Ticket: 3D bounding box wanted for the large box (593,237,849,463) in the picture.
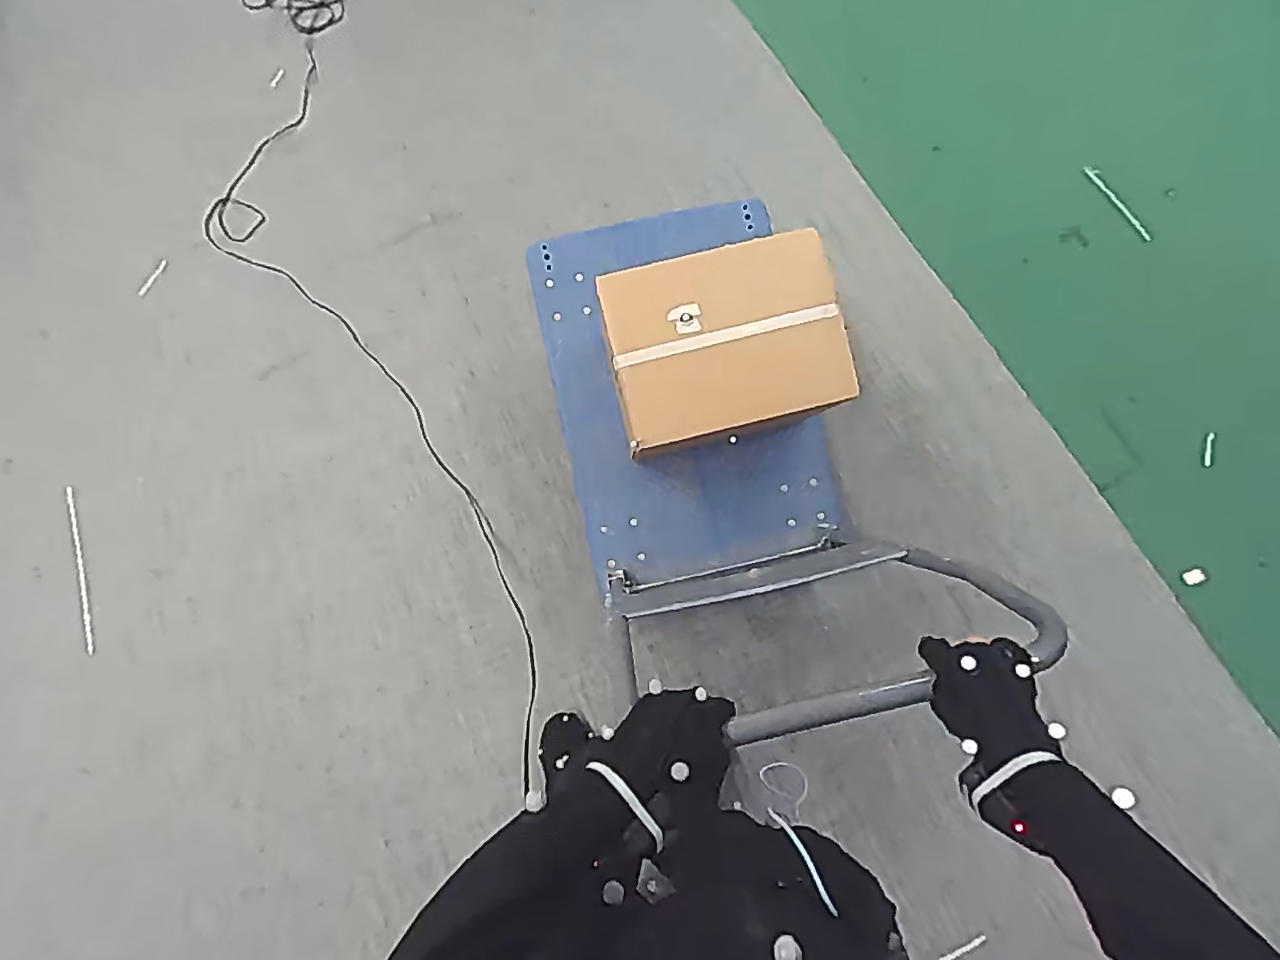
[{"bbox_3d":[0.144,-0.237,1.110,0.408,0.320,0.320,-14,88,-1],"label":"large box"}]
